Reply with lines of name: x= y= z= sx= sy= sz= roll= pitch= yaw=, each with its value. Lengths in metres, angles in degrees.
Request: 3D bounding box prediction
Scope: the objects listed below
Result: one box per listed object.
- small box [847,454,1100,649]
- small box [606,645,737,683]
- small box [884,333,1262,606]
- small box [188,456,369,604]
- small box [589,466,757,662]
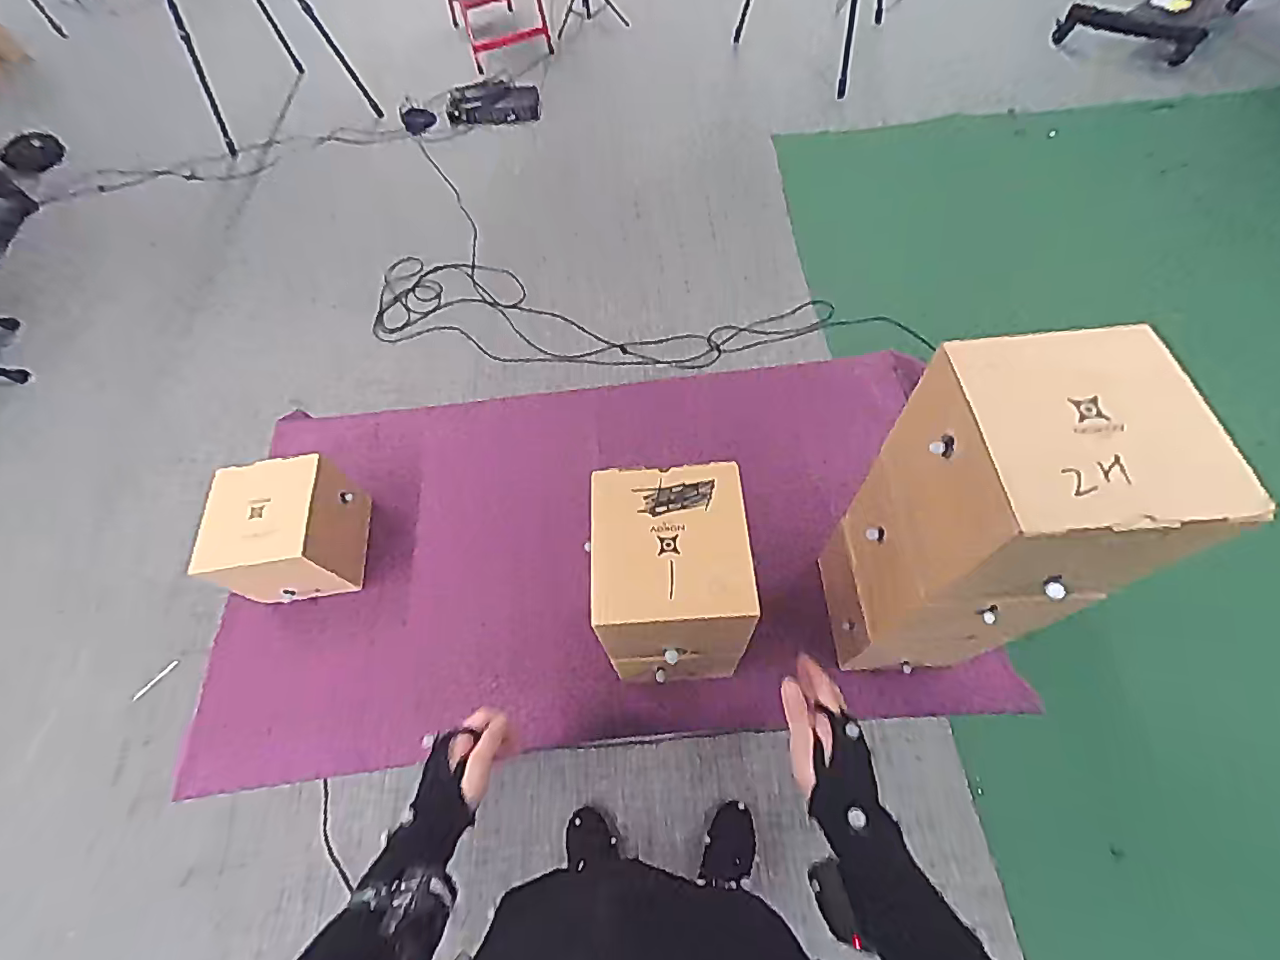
small box: x=0.350 y=0.083 z=0.614 sx=0.168 sy=0.176 sz=0.179 roll=-3 pitch=60 yaw=4
small box: x=0.043 y=0.188 z=0.772 sx=0.168 sy=0.176 sz=0.179 roll=-4 pitch=60 yaw=2
small box: x=0.336 y=-0.001 z=0.473 sx=0.168 sy=0.176 sz=0.179 roll=-4 pitch=61 yaw=4
small box: x=-0.562 y=0.085 z=0.873 sx=0.168 sy=0.176 sz=0.179 roll=-8 pitch=62 yaw=0
small box: x=0.034 y=0.103 z=0.631 sx=0.168 sy=0.176 sz=0.179 roll=-4 pitch=60 yaw=3
